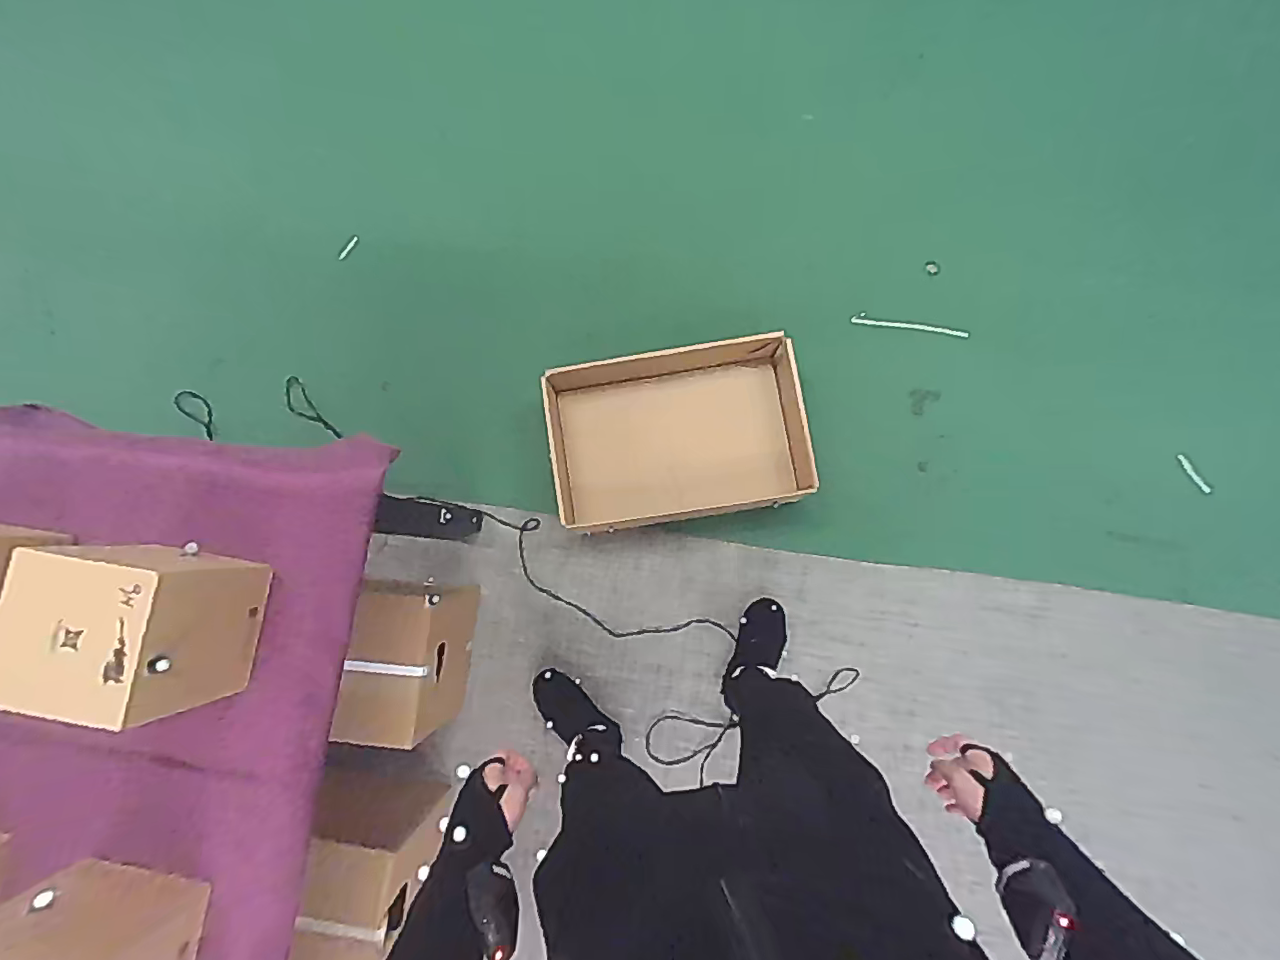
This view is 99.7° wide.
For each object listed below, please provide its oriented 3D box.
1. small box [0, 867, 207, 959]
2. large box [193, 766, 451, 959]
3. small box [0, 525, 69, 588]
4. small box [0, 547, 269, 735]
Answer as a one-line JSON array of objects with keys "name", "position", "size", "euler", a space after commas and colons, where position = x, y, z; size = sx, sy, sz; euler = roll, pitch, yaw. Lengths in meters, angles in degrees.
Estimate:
[{"name": "small box", "position": [-0.644, 0.571, 0.597], "size": [0.179, 0.176, 0.168], "euler": [9, 84, 4]}, {"name": "large box", "position": [-0.697, 0.892, 1.228], "size": [0.408, 0.320, 0.320], "euler": [7, 83, 4]}, {"name": "small box", "position": [-0.880, 0.139, 0.658], "size": [0.179, 0.176, 0.168], "euler": [9, 85, 3]}, {"name": "small box", "position": [-0.596, 0.175, 0.641], "size": [0.179, 0.176, 0.168], "euler": [9, 84, 6]}]
